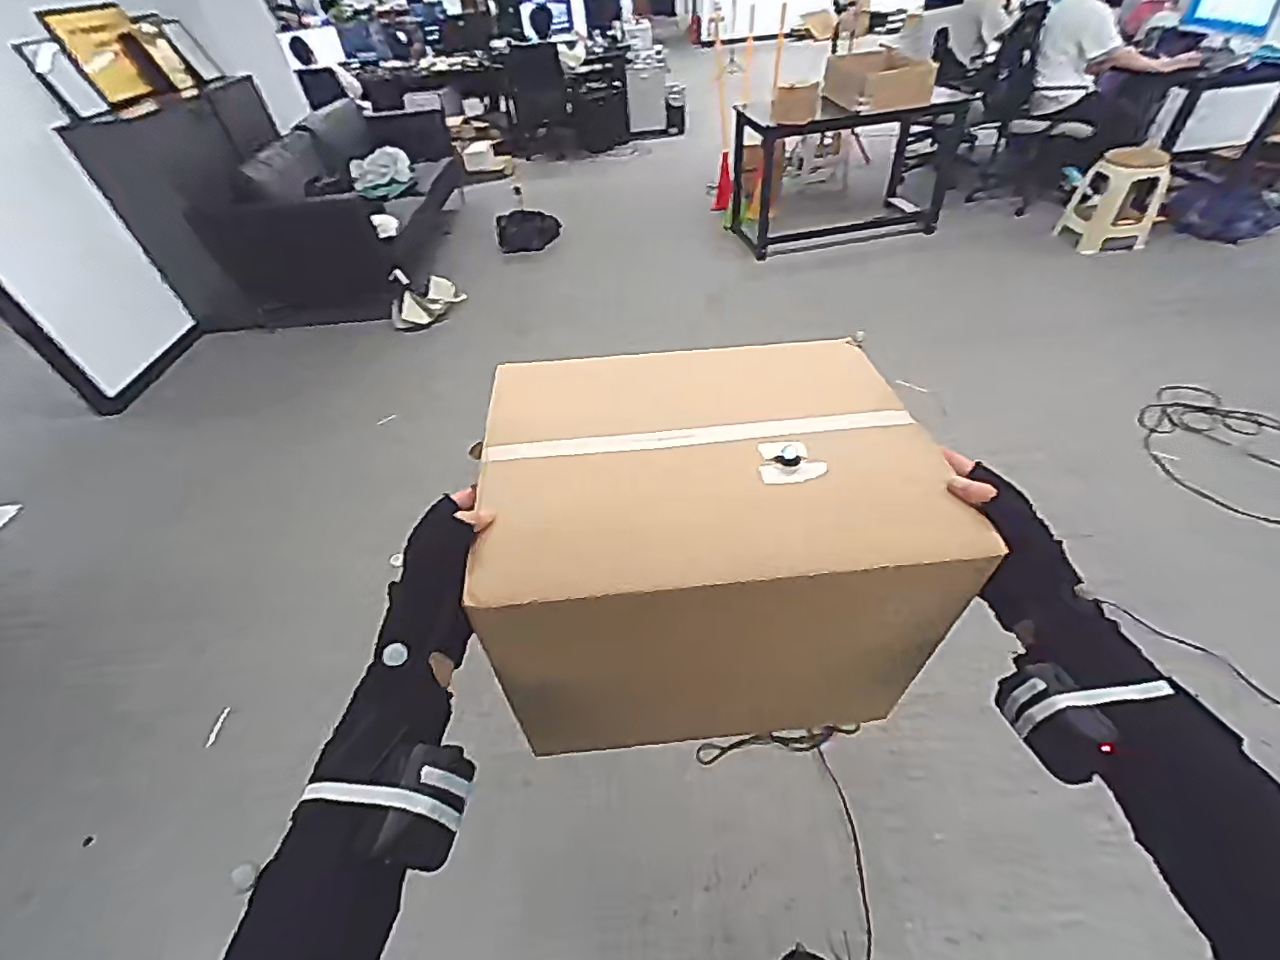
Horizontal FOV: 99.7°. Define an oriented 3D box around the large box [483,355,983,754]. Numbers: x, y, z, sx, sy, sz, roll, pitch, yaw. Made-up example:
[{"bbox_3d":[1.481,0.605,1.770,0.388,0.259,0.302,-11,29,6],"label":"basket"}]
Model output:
[{"bbox_3d":[0.062,0.080,0.622,0.408,0.320,0.320,-5,45,-4],"label":"large box"}]
